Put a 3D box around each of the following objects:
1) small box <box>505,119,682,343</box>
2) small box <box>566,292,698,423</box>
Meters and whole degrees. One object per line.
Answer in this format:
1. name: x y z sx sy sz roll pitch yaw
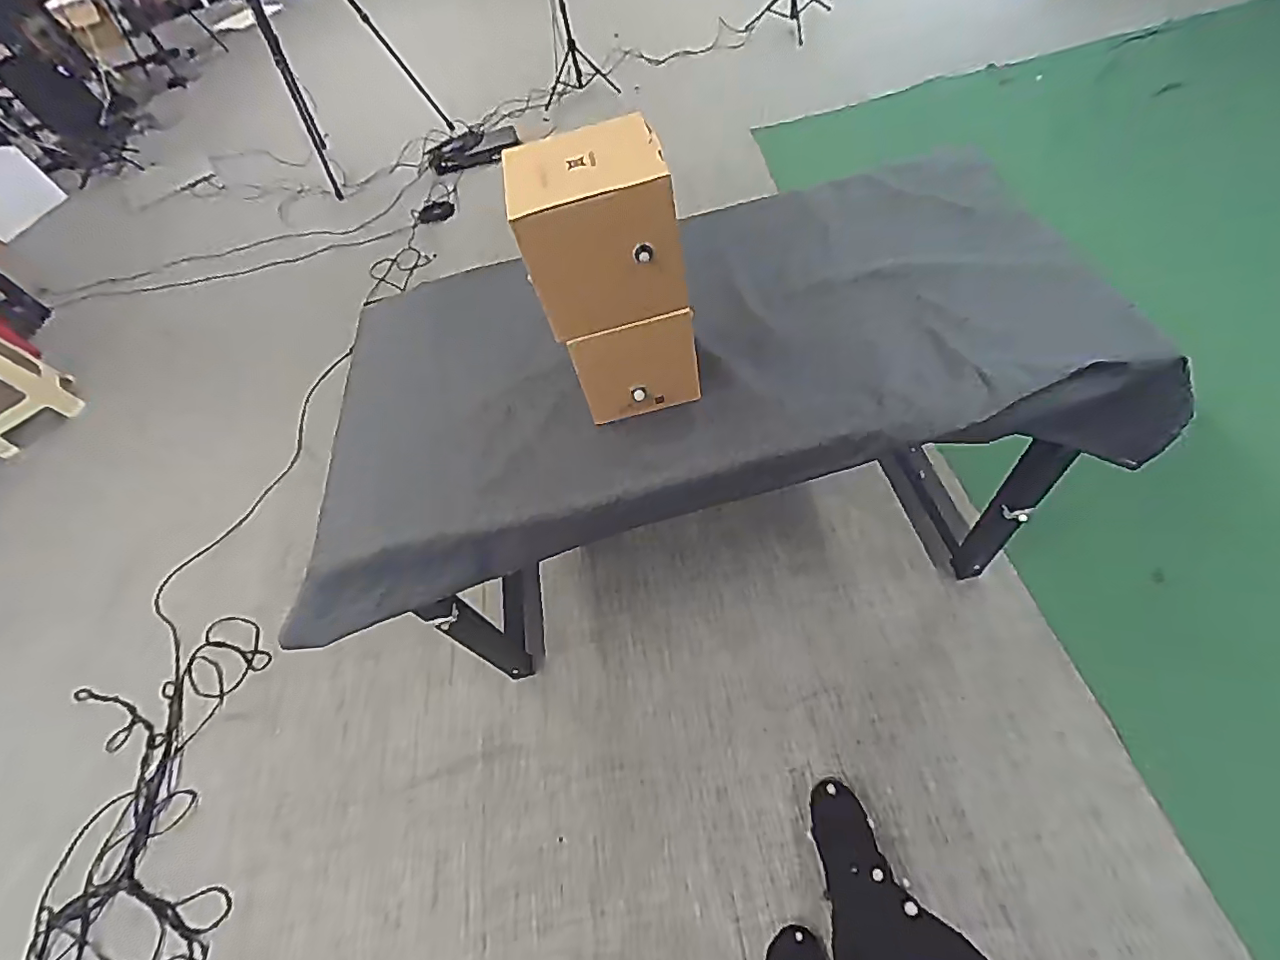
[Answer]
1. small box: -0.051 -0.300 0.667 0.179 0.176 0.168 -15 54 3
2. small box: -0.016 -0.213 0.800 0.168 0.176 0.179 -14 55 3
